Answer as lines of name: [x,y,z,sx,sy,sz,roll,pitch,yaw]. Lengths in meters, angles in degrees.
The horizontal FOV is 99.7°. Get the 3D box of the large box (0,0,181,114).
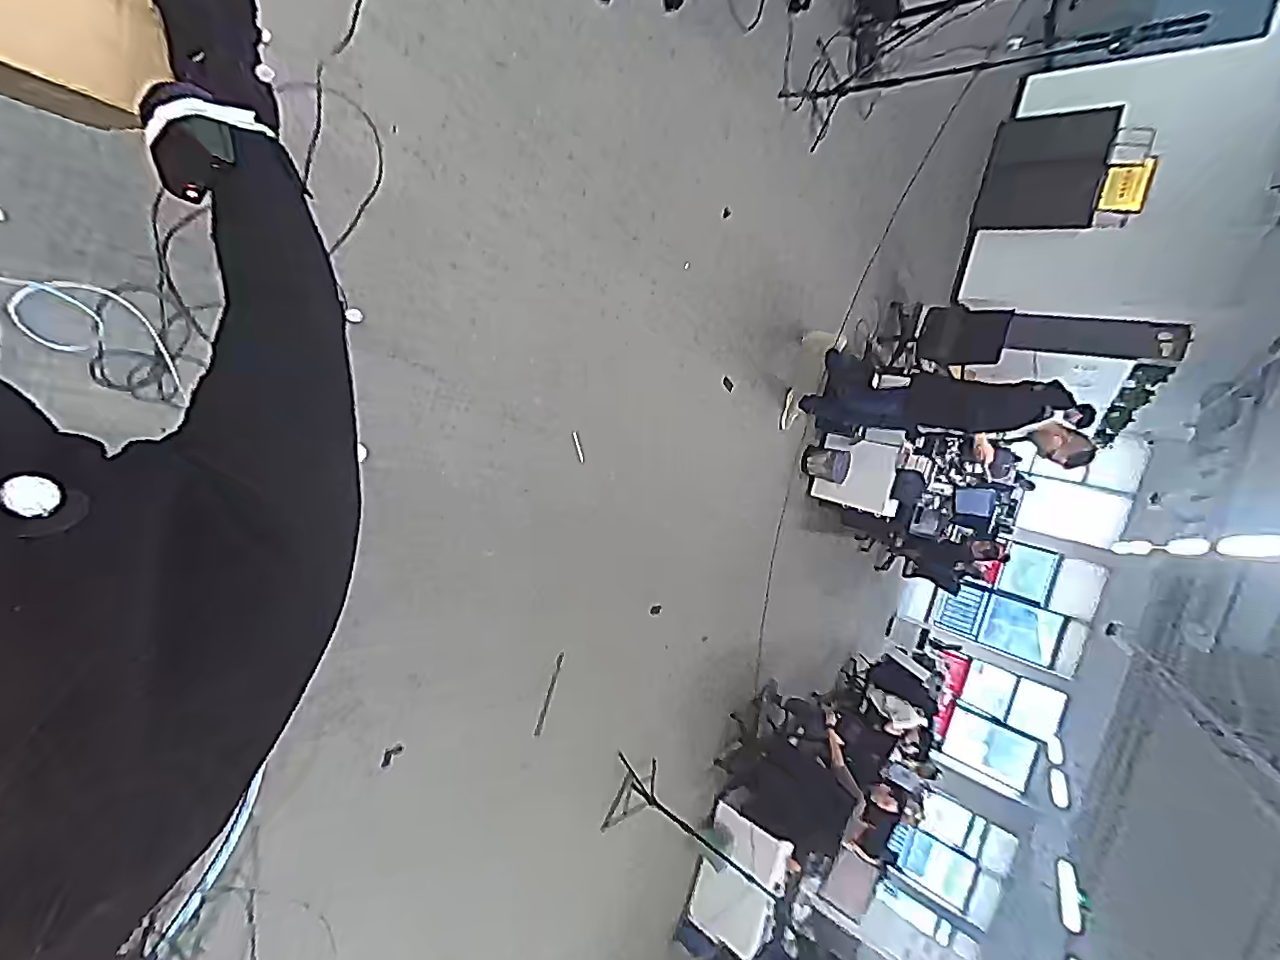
large box: [-0.585,-0.499,0.344,0.408,0.320,0.320,-2,113,-53]
